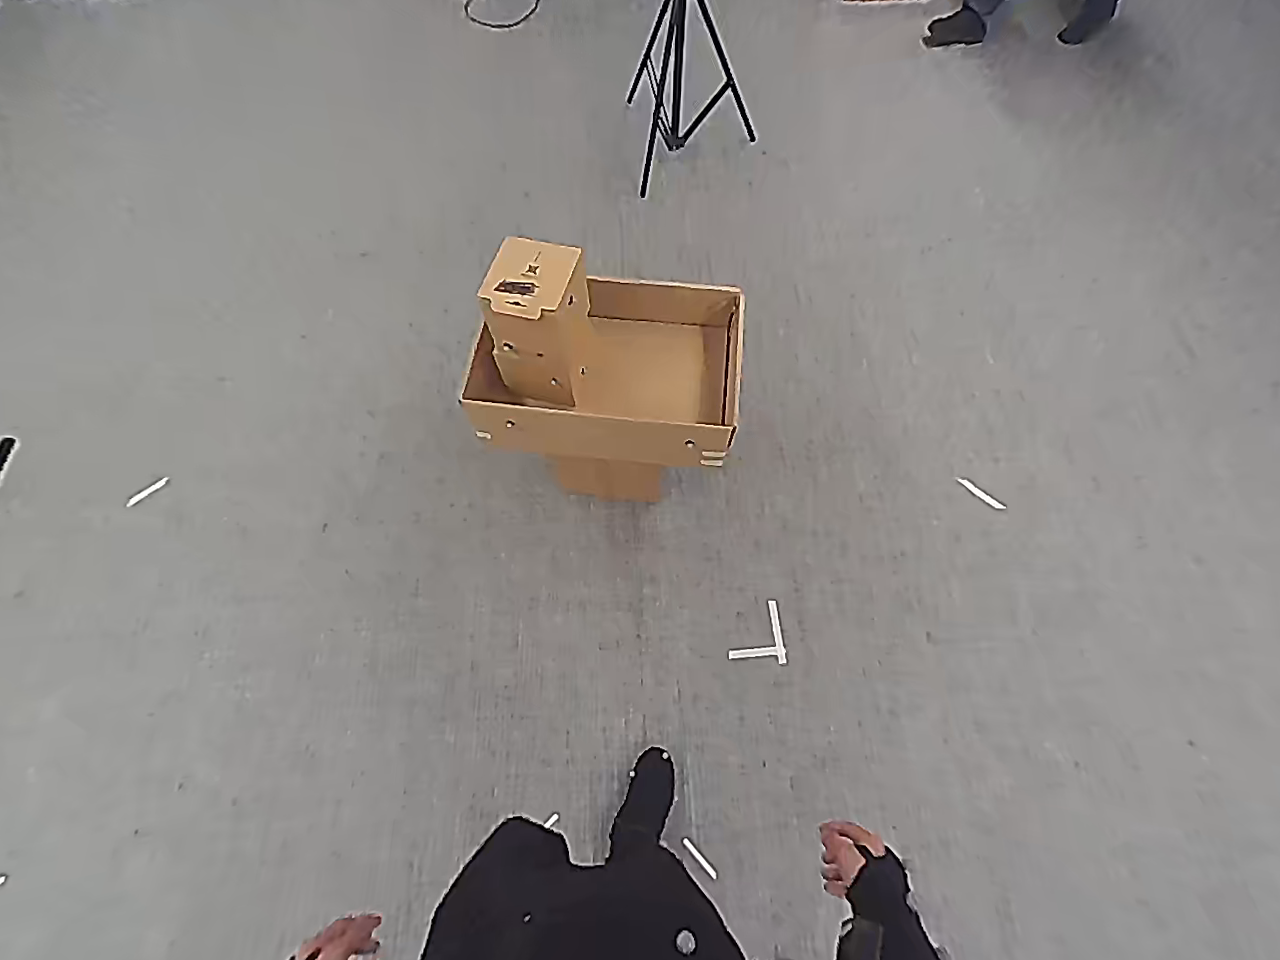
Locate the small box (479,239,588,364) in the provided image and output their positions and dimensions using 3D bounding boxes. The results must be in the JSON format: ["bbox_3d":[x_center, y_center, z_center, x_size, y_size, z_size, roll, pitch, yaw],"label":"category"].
[{"bbox_3d":[-0.215,-0.374,1.150,0.168,0.176,0.179,13,66,6],"label":"small box"}]
